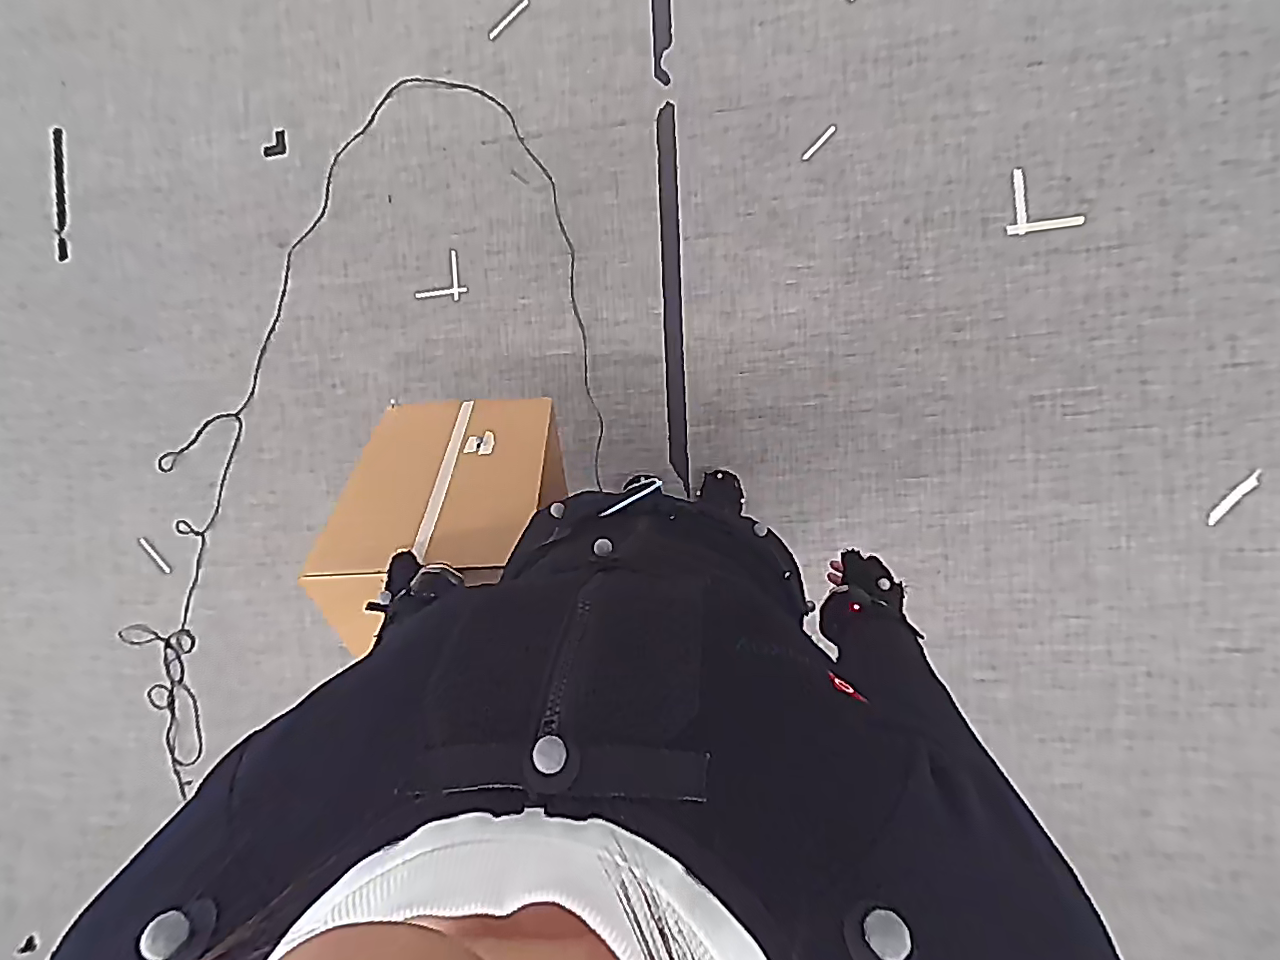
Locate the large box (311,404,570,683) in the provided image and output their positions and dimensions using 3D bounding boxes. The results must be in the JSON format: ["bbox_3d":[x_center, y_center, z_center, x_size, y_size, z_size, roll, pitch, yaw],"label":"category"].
[{"bbox_3d":[-0.308,0.106,0.989,0.320,0.408,0.320,-2,131,0],"label":"large box"}]
